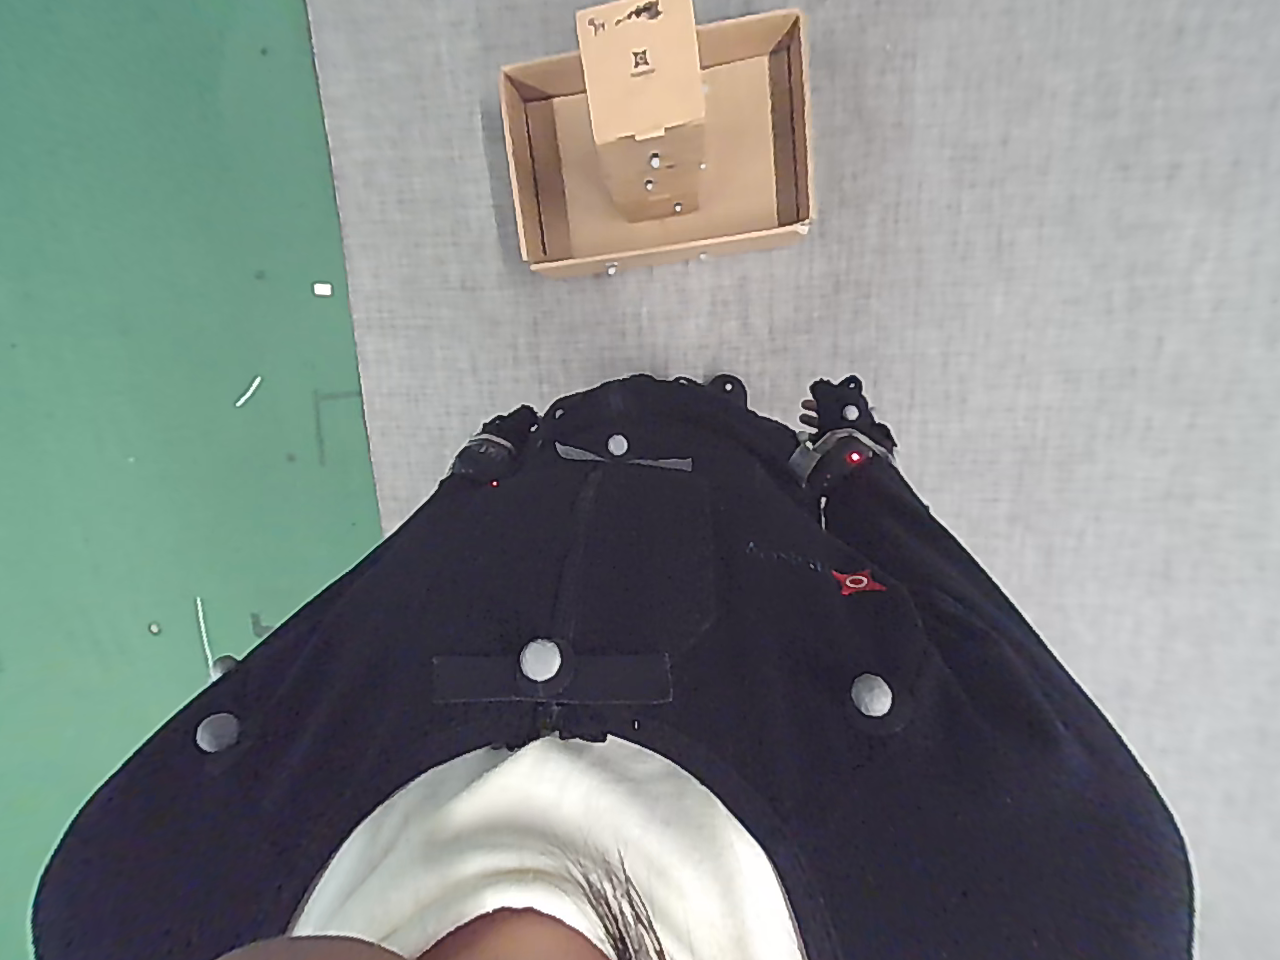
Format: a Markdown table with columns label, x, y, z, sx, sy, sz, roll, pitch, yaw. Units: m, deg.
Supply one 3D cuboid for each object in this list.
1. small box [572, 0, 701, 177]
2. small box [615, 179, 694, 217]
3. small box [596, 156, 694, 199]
| label | x | y | z | sx | sy | sz | roll | pitch | yaw |
| --- | --- | --- | --- | --- | --- | --- | --- | --- | --- |
| small box | 0.005 | -0.611 | 0.866 | 0.168 | 0.176 | 0.179 | -9 | 100 | 9 |
| small box | 0.027 | -0.685 | 1.165 | 0.168 | 0.176 | 0.179 | -6 | 100 | 7 |
| small box | 0.012 | -0.650 | 1.023 | 0.179 | 0.176 | 0.168 | -4 | 101 | 8 |
